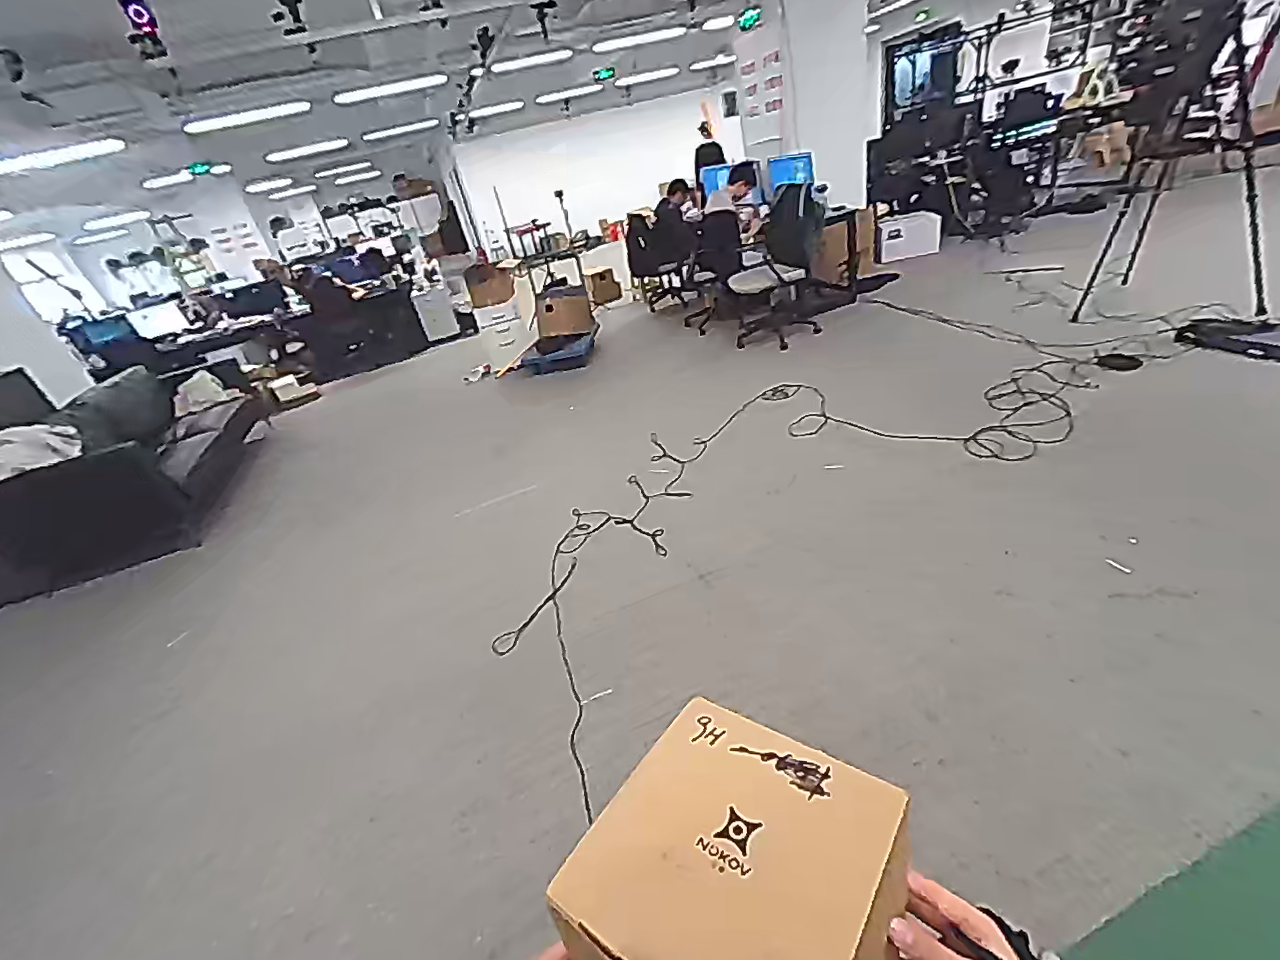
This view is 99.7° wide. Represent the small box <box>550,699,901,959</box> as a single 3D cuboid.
[{"bbox_3d":[0.071,0.301,0.376,0.168,0.176,0.179,10,33,38],"label":"small box"}]
